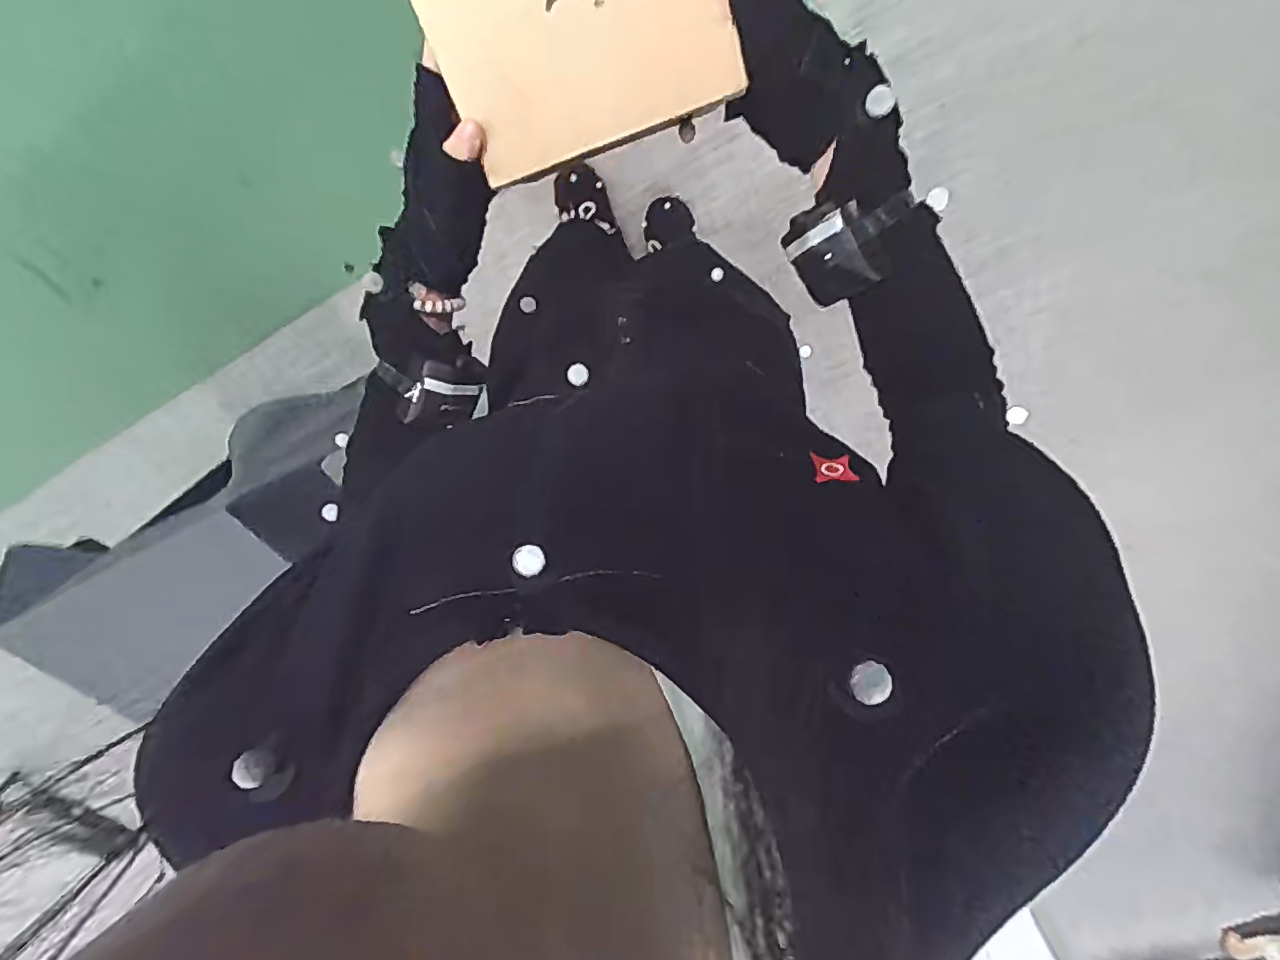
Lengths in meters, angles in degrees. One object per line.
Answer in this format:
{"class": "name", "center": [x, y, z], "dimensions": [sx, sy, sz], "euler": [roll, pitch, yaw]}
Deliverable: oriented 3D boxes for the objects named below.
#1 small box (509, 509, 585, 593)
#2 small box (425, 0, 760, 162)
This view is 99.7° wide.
{"class": "small box", "center": [-0.284, 0.217, 1.688], "dimensions": [0.179, 0.176, 0.168], "euler": [-21, 122, 10]}
{"class": "small box", "center": [-0.037, -0.325, 0.354], "dimensions": [0.179, 0.176, 0.168], "euler": [-16, 121, 7]}
